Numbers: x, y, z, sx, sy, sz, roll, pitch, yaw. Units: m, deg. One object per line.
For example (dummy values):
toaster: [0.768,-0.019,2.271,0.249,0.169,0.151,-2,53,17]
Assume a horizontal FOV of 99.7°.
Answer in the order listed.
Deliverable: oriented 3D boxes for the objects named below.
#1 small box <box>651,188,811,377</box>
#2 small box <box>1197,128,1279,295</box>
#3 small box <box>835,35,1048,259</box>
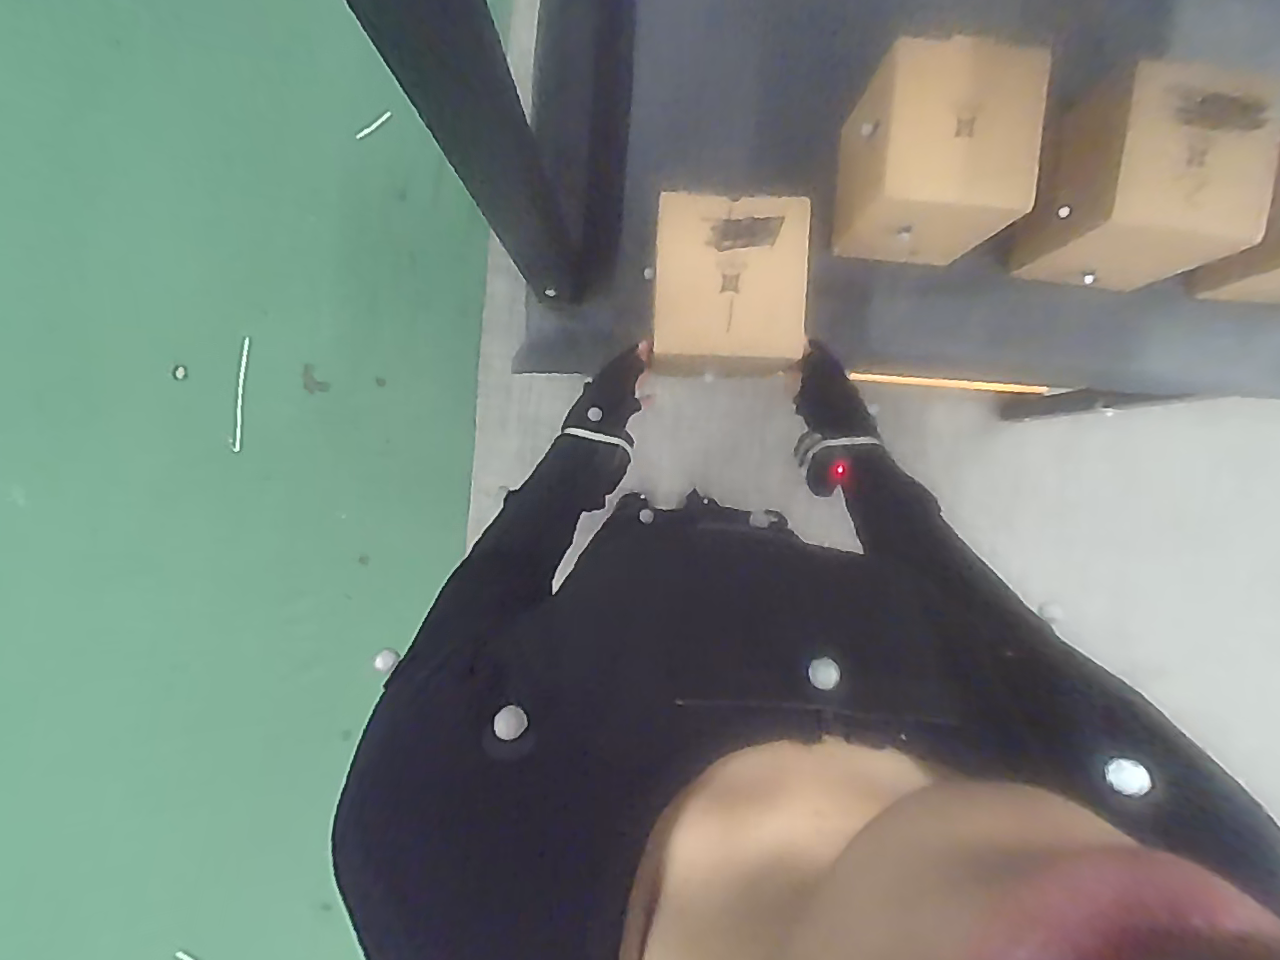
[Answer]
small box: [0.101,-0.231,0.669,0.168,0.176,0.179,2,93,0]
small box: [0.842,-0.334,0.655,0.168,0.176,0.179,4,90,0]
small box: [0.352,-0.390,0.665,0.168,0.176,0.179,5,91,1]
